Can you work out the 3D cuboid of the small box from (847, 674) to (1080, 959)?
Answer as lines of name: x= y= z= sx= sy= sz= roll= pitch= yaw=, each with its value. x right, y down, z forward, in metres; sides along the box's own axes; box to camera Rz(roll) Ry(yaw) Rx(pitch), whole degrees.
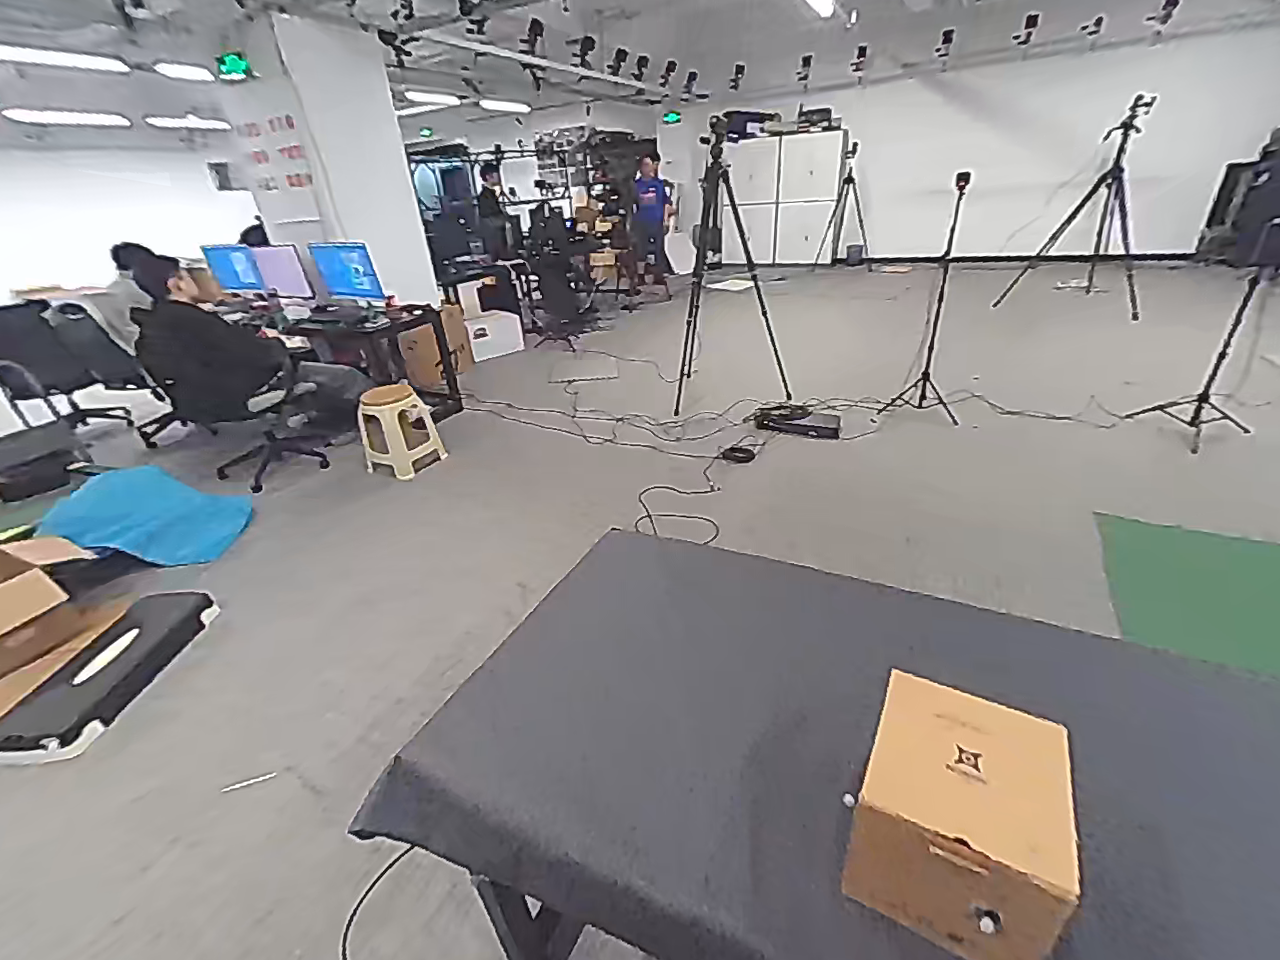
small box: x=0.319 y=0.345 z=0.554 sx=0.168 sy=0.176 sz=0.179 roll=13 pitch=32 yaw=28
